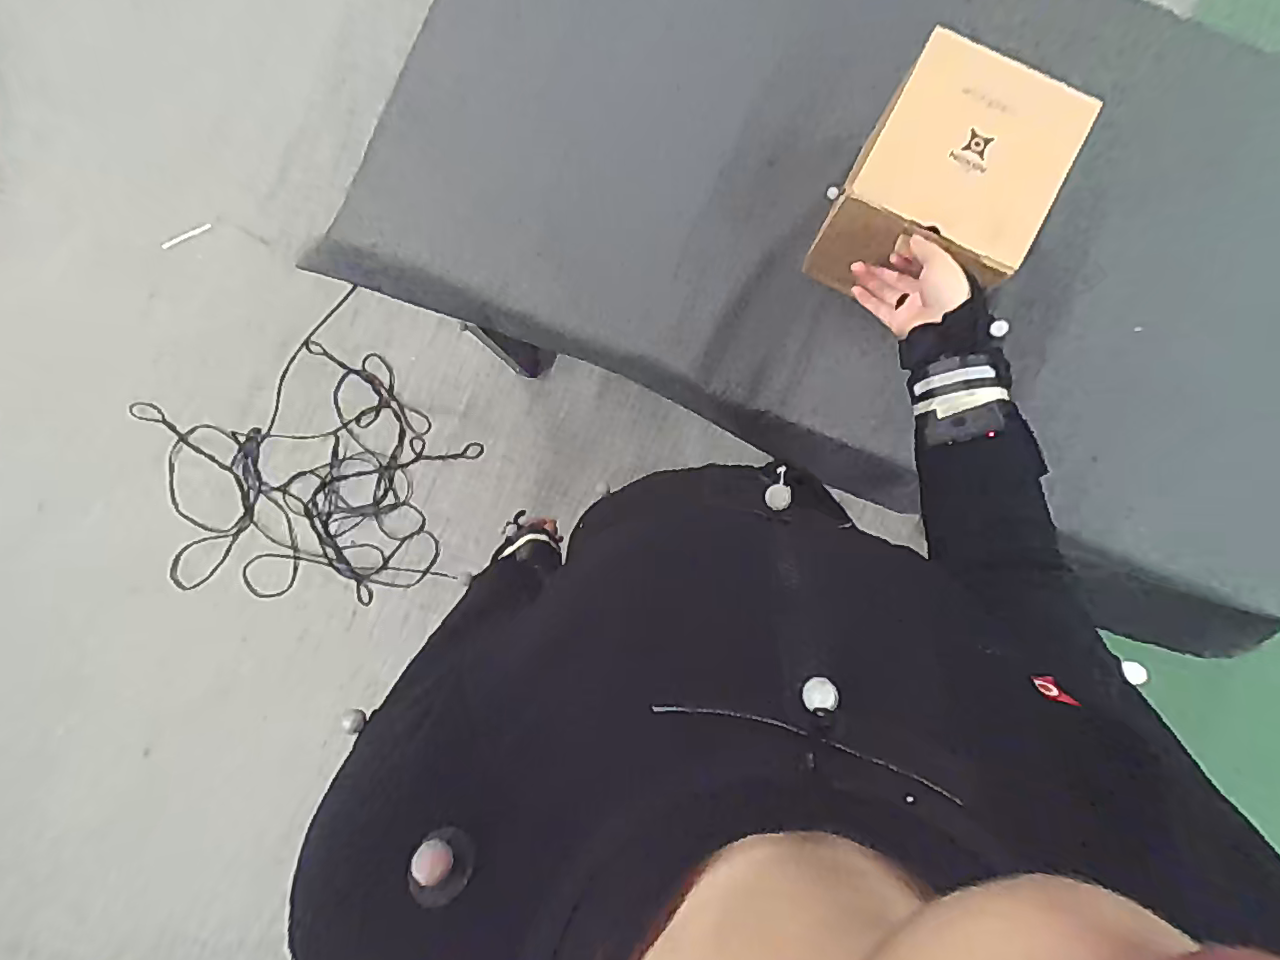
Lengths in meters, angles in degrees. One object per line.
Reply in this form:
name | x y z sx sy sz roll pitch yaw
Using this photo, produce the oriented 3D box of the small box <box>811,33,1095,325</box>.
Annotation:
small box | 0.300 -0.290 0.564 0.168 0.176 0.179 27 88 2
